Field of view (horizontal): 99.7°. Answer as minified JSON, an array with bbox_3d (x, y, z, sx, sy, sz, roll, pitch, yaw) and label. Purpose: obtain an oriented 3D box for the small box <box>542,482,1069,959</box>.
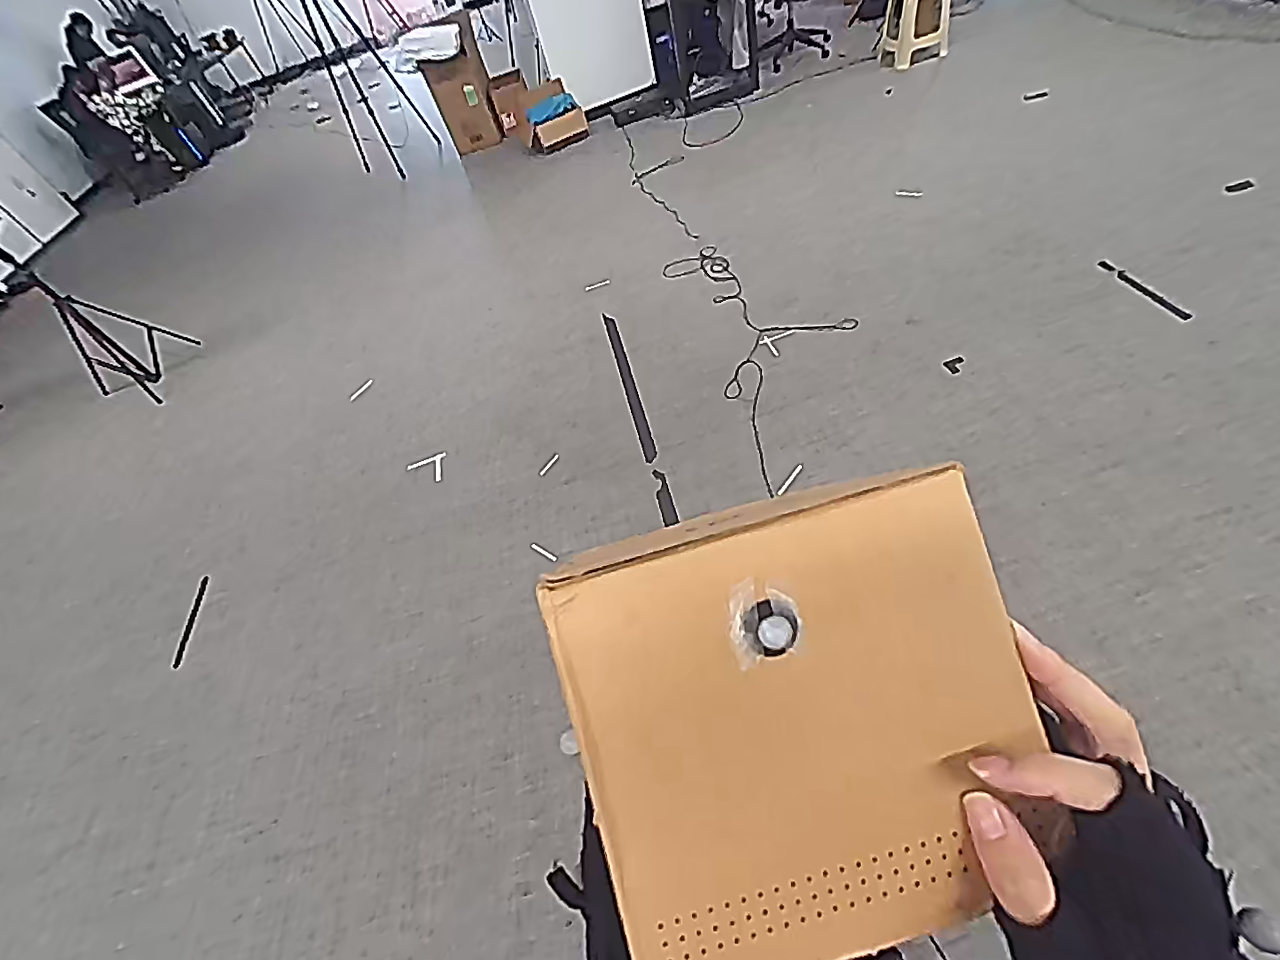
[{"bbox_3d":[0.066,0.109,0.285,0.179,0.168,0.176,-16,86,-2],"label":"small box"}]
